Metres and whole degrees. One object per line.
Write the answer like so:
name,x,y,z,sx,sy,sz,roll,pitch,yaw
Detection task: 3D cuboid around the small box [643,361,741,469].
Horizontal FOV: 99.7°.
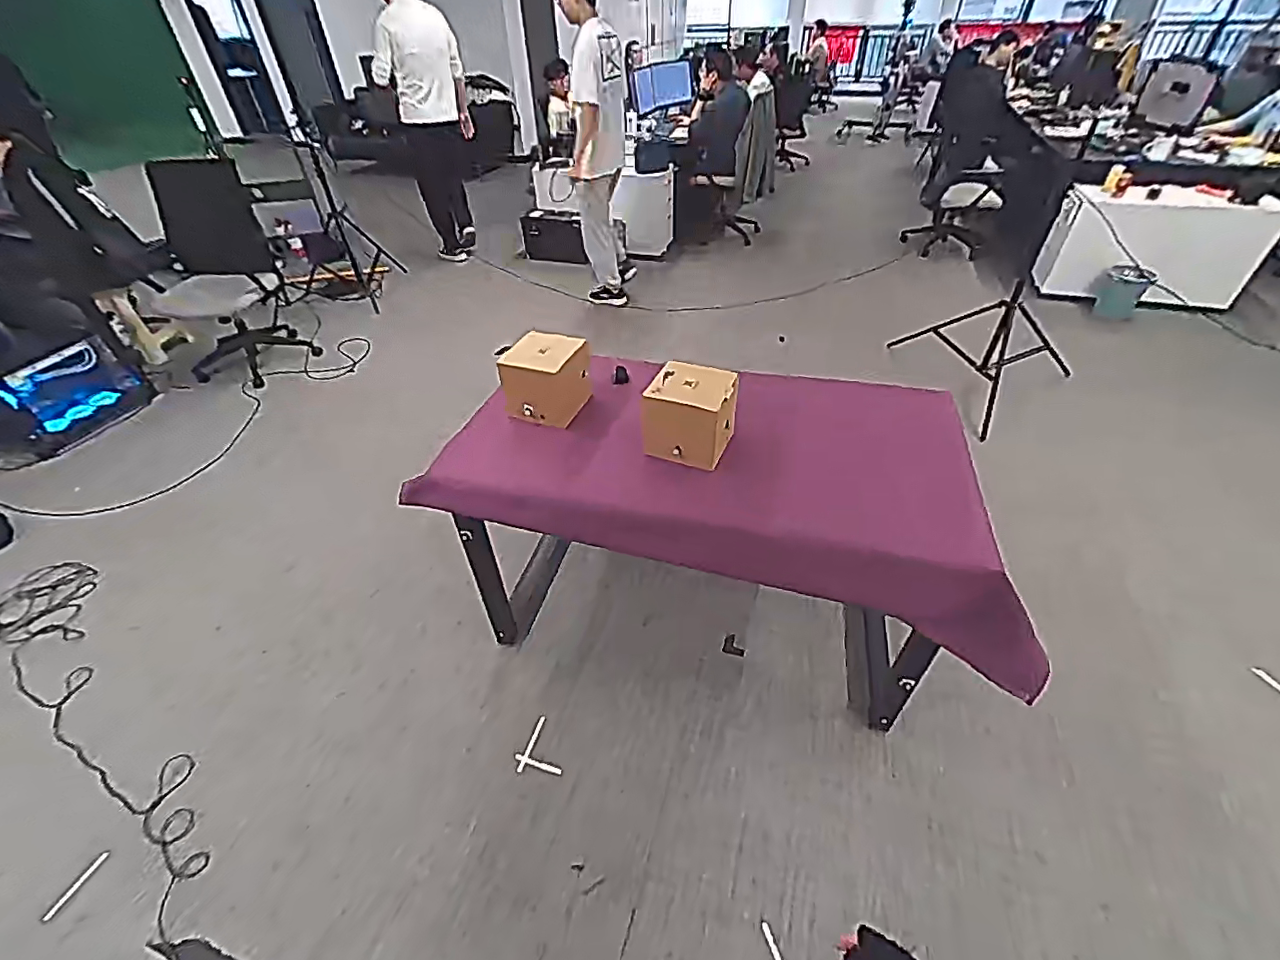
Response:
small box,0.119,-0.149,1.254,0.179,0.176,0.168,16,44,18

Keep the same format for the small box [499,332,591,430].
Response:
small box,-0.234,-0.255,1.388,0.168,0.176,0.179,12,44,17
